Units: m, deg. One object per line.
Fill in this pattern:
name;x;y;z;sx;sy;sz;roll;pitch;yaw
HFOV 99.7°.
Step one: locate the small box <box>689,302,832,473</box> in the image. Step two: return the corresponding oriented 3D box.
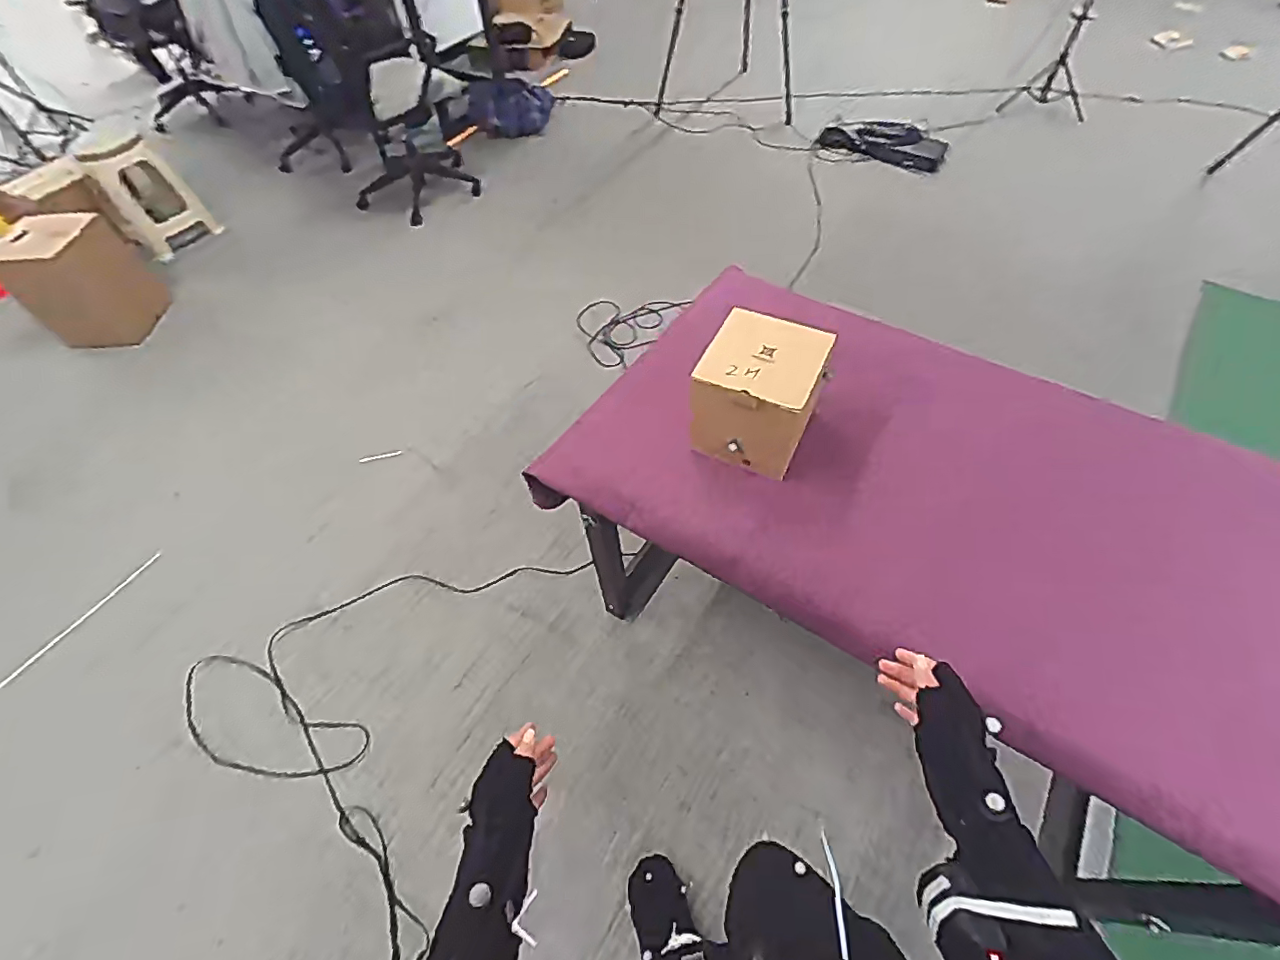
small box;0.182;-0.144;0.857;0.168;0.176;0.179;21;59;18
